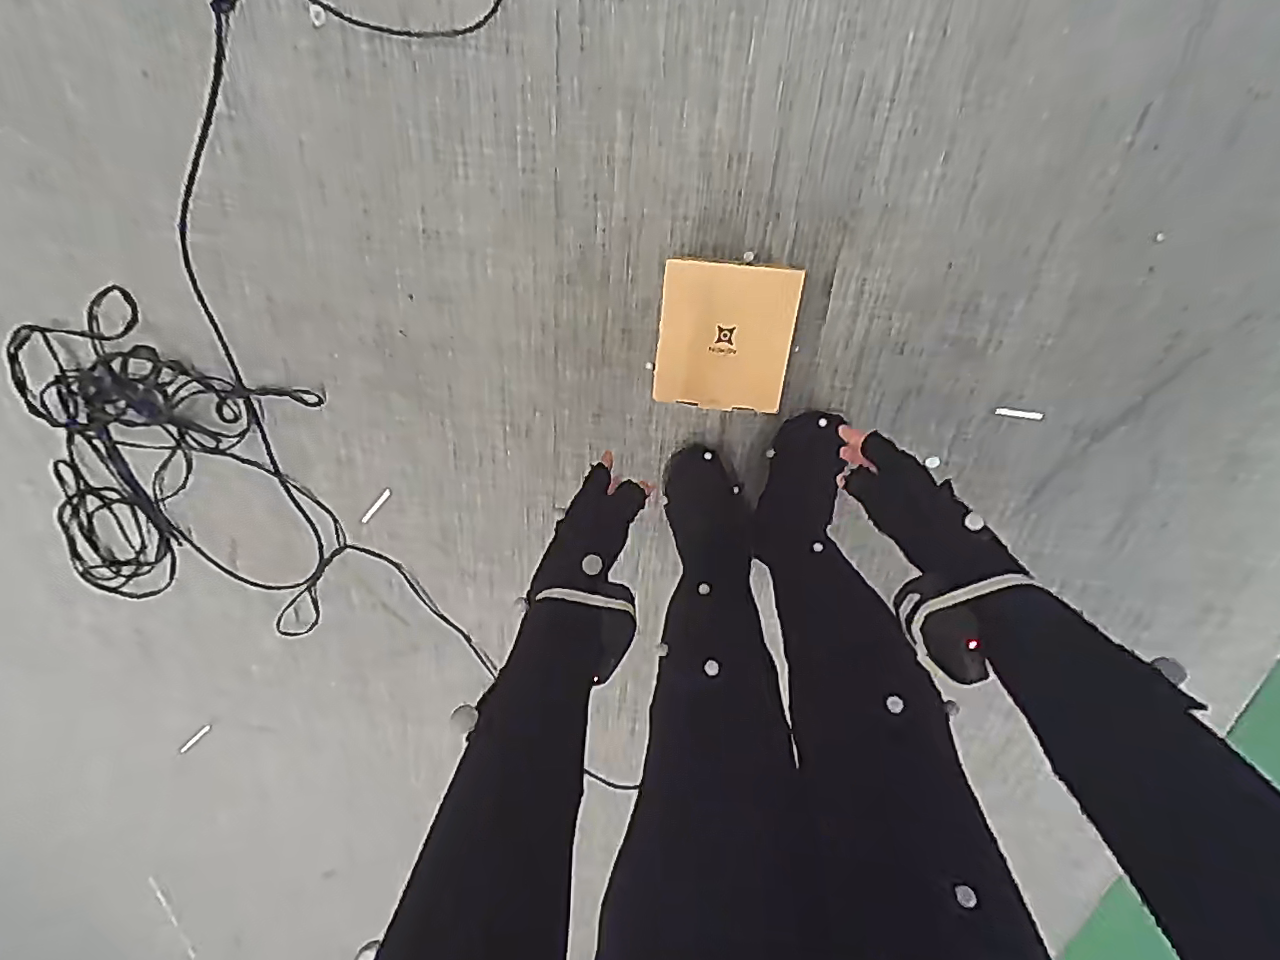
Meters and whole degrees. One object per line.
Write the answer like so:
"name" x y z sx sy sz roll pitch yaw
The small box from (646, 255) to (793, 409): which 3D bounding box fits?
"small box" 0.102 -0.213 0.749 0.168 0.176 0.179 6 115 3
